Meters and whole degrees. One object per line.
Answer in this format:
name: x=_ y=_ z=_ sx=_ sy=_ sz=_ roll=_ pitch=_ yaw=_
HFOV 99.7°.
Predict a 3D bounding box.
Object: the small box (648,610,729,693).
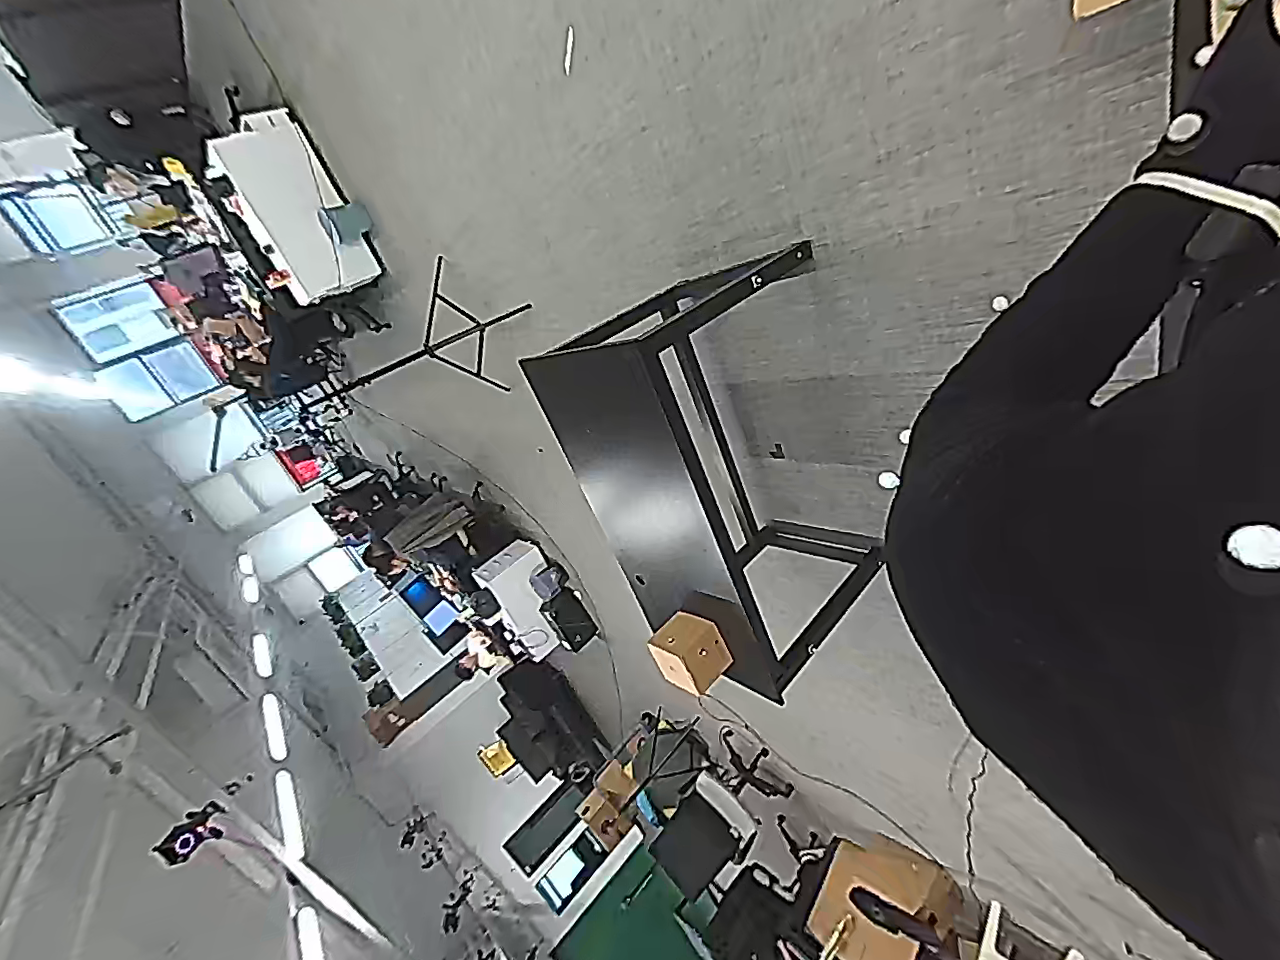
small box: x=0.164 y=0.545 z=1.746 sx=0.179 sy=0.176 sz=0.168 roll=3 pitch=124 yaw=56
